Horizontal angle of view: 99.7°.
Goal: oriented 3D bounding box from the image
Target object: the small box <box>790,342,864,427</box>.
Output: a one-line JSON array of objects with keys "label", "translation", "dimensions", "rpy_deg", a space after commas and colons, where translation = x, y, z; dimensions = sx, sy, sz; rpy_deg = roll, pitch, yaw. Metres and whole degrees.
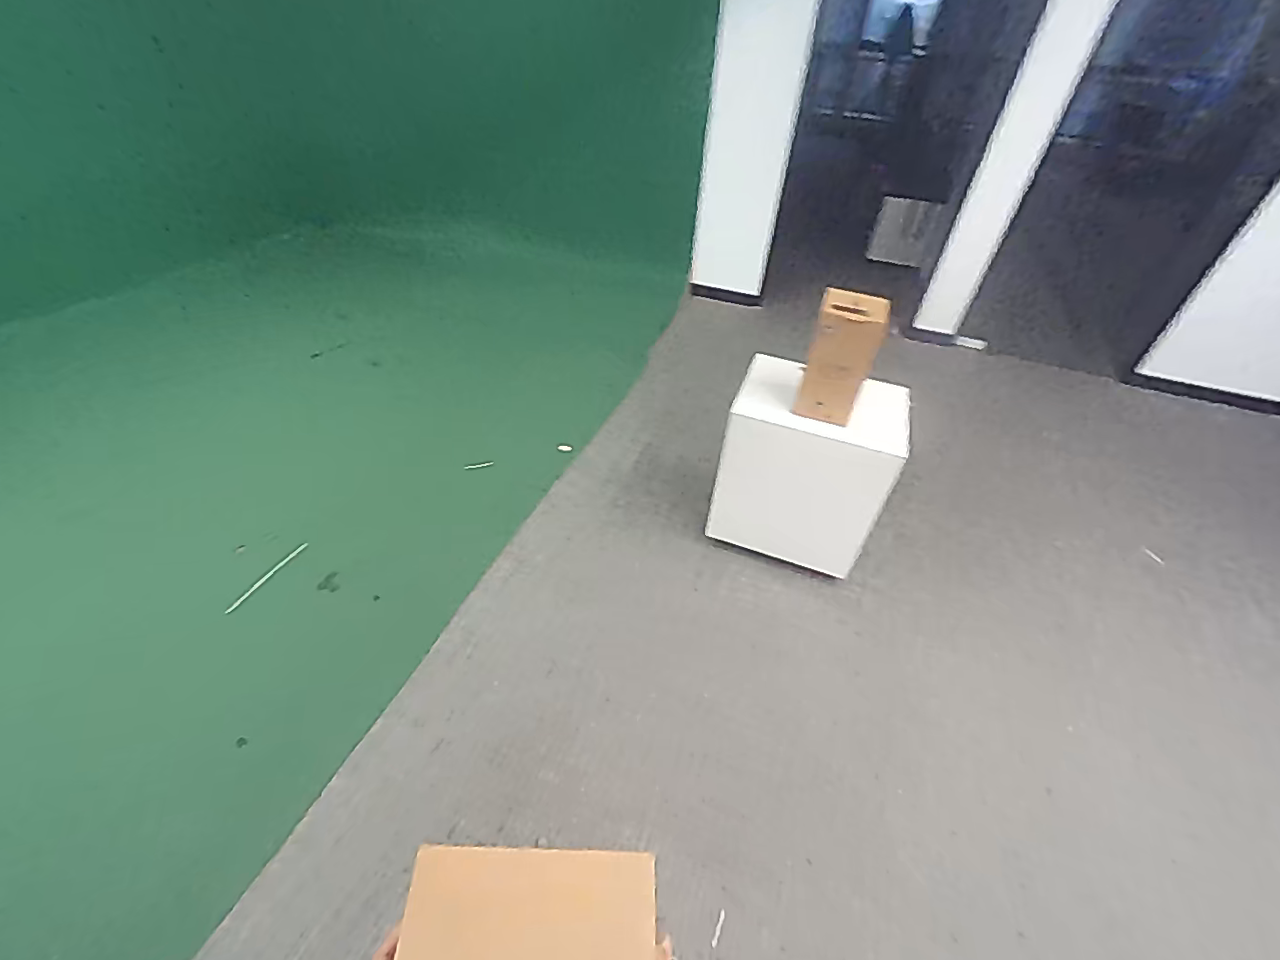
[{"label": "small box", "translation": [0.560, -0.287, 1.621], "dimensions": [0.168, 0.176, 0.179], "rpy_deg": [16, 42, 13]}]
